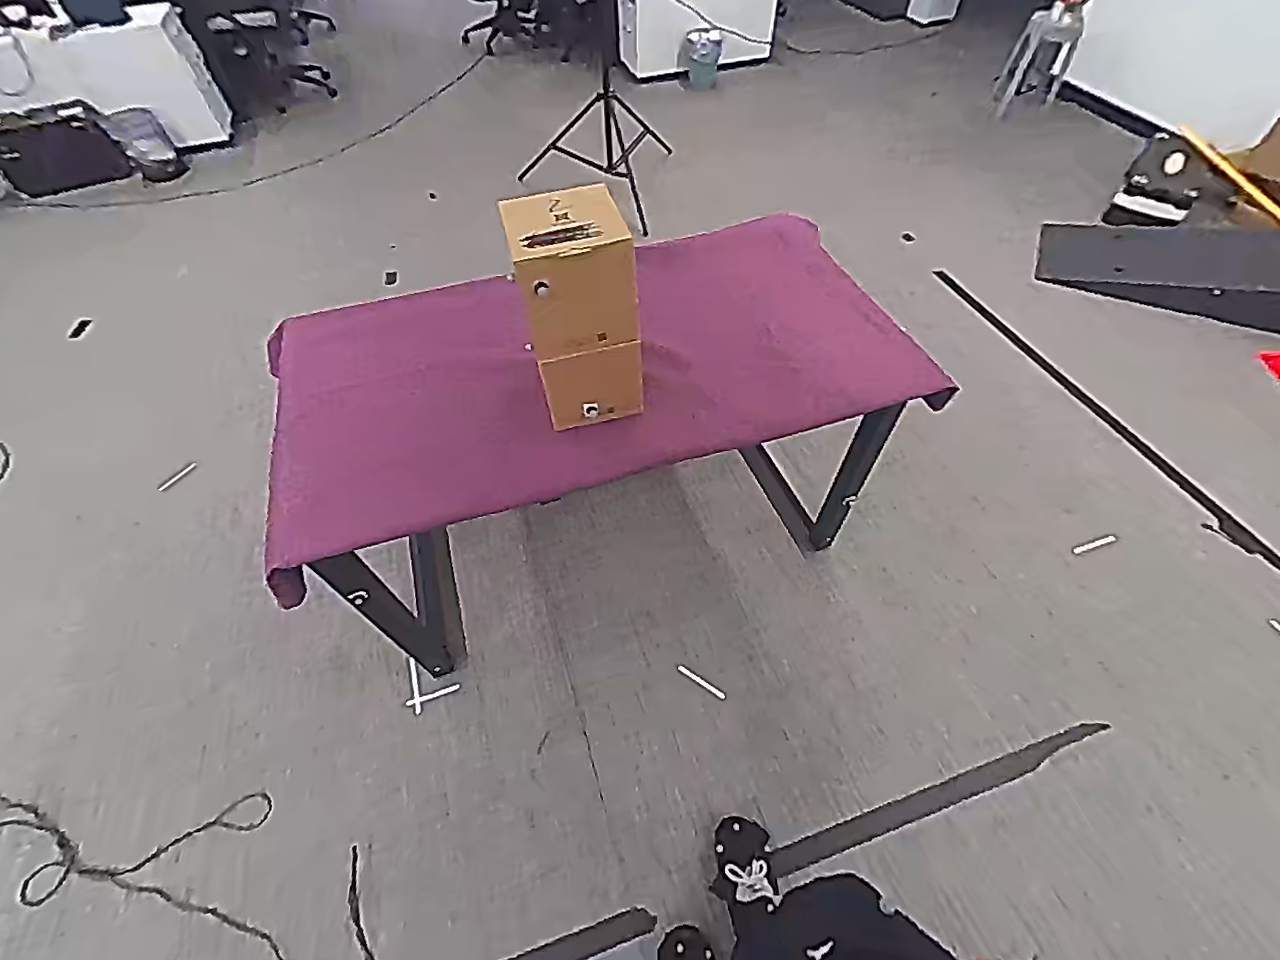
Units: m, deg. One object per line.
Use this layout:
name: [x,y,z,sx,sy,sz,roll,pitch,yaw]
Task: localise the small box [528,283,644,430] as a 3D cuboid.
small box: [-0.093,-0.217,0.962,0.168,0.176,0.179,-14,55,-8]
